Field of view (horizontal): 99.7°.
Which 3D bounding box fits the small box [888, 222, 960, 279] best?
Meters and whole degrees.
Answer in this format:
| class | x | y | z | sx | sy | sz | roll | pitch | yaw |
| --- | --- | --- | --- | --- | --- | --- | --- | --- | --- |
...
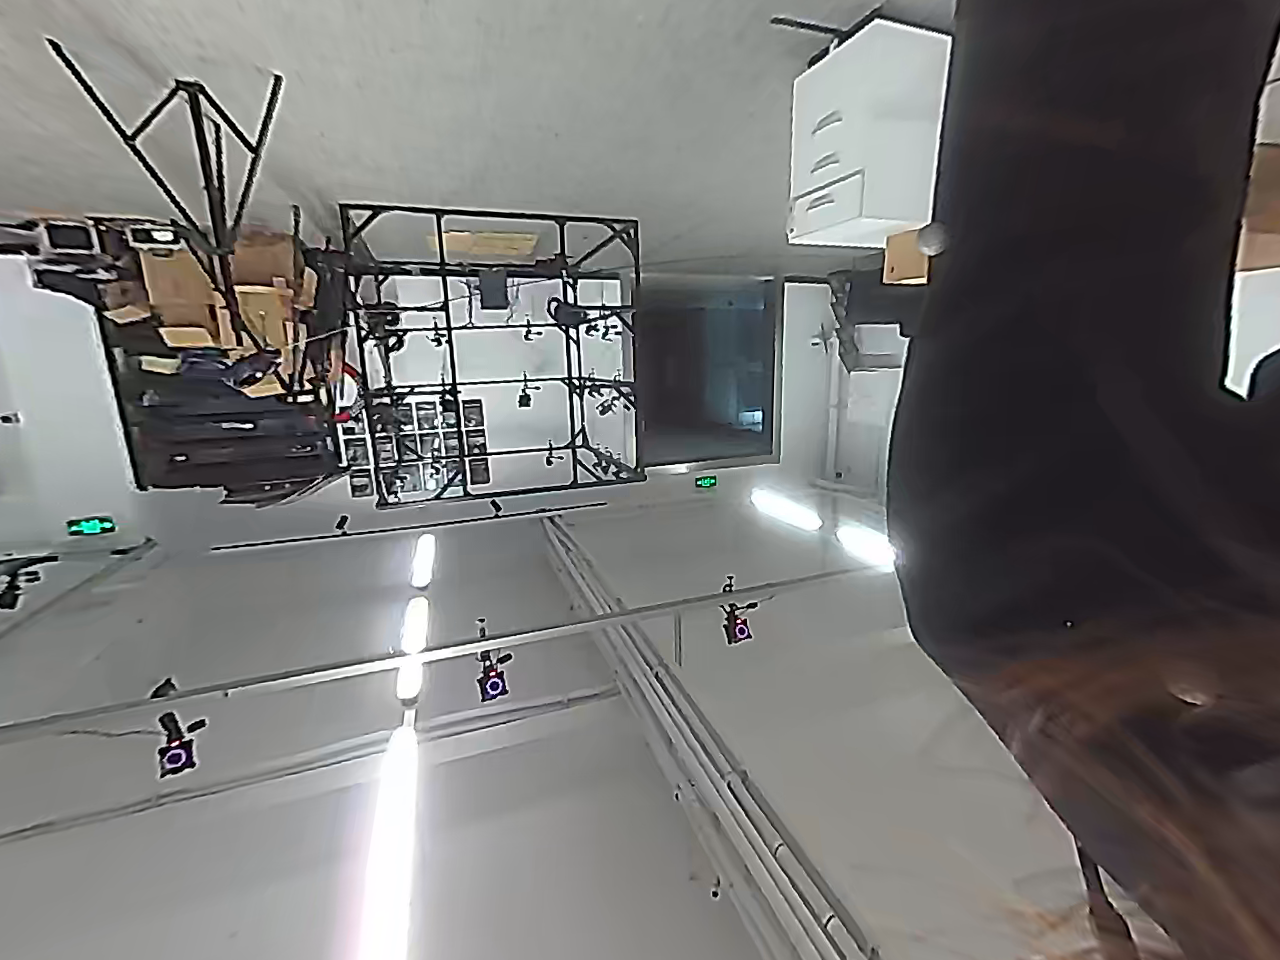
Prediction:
| class | x | y | z | sx | sy | sz | roll | pitch | yaw |
| --- | --- | --- | --- | --- | --- | --- | --- | --- | --- |
| small box | 1.054 | -0.847 | 2.004 | 0.168 | 0.176 | 0.179 | -7 | -165 | -19 |
